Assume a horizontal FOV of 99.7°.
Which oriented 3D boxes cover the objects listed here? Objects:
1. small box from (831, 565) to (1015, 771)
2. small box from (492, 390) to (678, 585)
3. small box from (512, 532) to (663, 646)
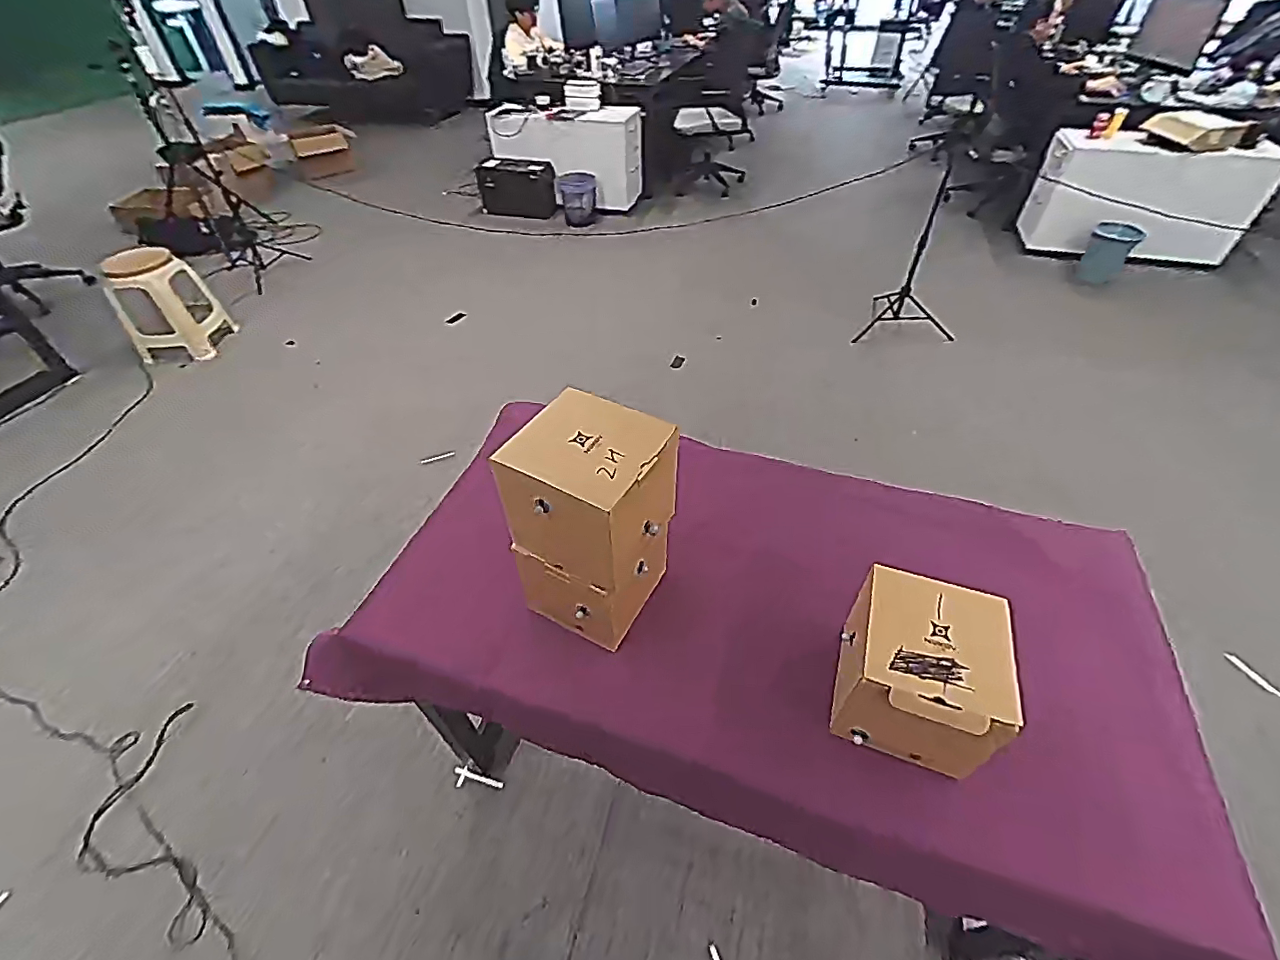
[{"bbox_3d":[0.359,0.247,0.710,0.168,0.176,0.179,15,47,15],"label":"small box"},{"bbox_3d":[-0.066,0.011,0.725,0.179,0.176,0.168,23,51,21],"label":"small box"},{"bbox_3d":[-0.069,0.125,0.843,0.168,0.176,0.179,22,50,20],"label":"small box"}]
